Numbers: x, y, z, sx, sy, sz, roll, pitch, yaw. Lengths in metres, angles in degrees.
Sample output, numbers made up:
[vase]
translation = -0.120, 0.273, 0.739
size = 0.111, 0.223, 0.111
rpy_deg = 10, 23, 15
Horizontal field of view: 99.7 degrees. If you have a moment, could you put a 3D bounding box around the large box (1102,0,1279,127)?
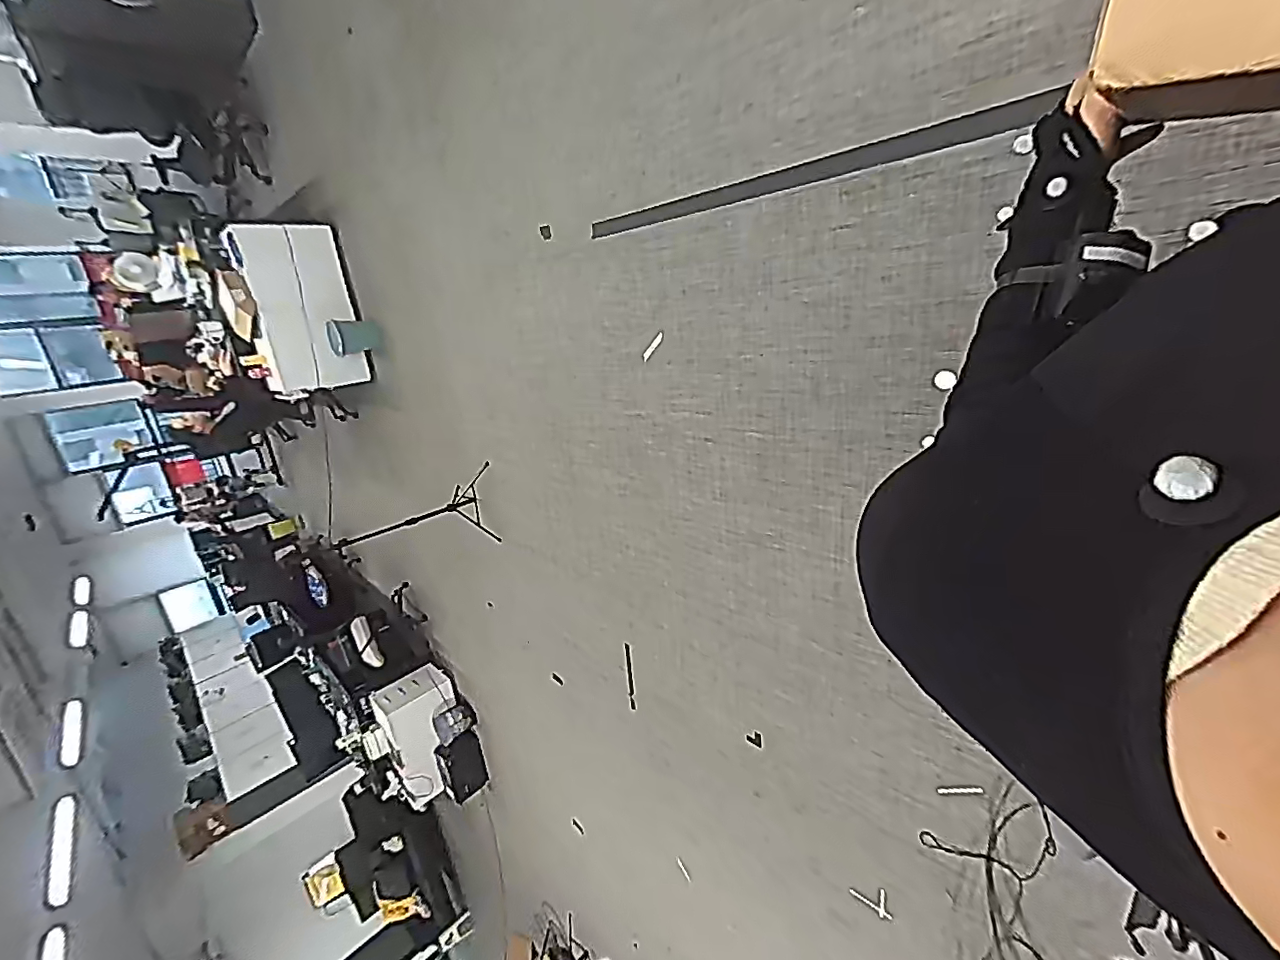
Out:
[large box]
translation = 0.430, -0.317, 0.151
size = 0.408, 0.320, 0.320
rpy_deg = 17, 125, 36
